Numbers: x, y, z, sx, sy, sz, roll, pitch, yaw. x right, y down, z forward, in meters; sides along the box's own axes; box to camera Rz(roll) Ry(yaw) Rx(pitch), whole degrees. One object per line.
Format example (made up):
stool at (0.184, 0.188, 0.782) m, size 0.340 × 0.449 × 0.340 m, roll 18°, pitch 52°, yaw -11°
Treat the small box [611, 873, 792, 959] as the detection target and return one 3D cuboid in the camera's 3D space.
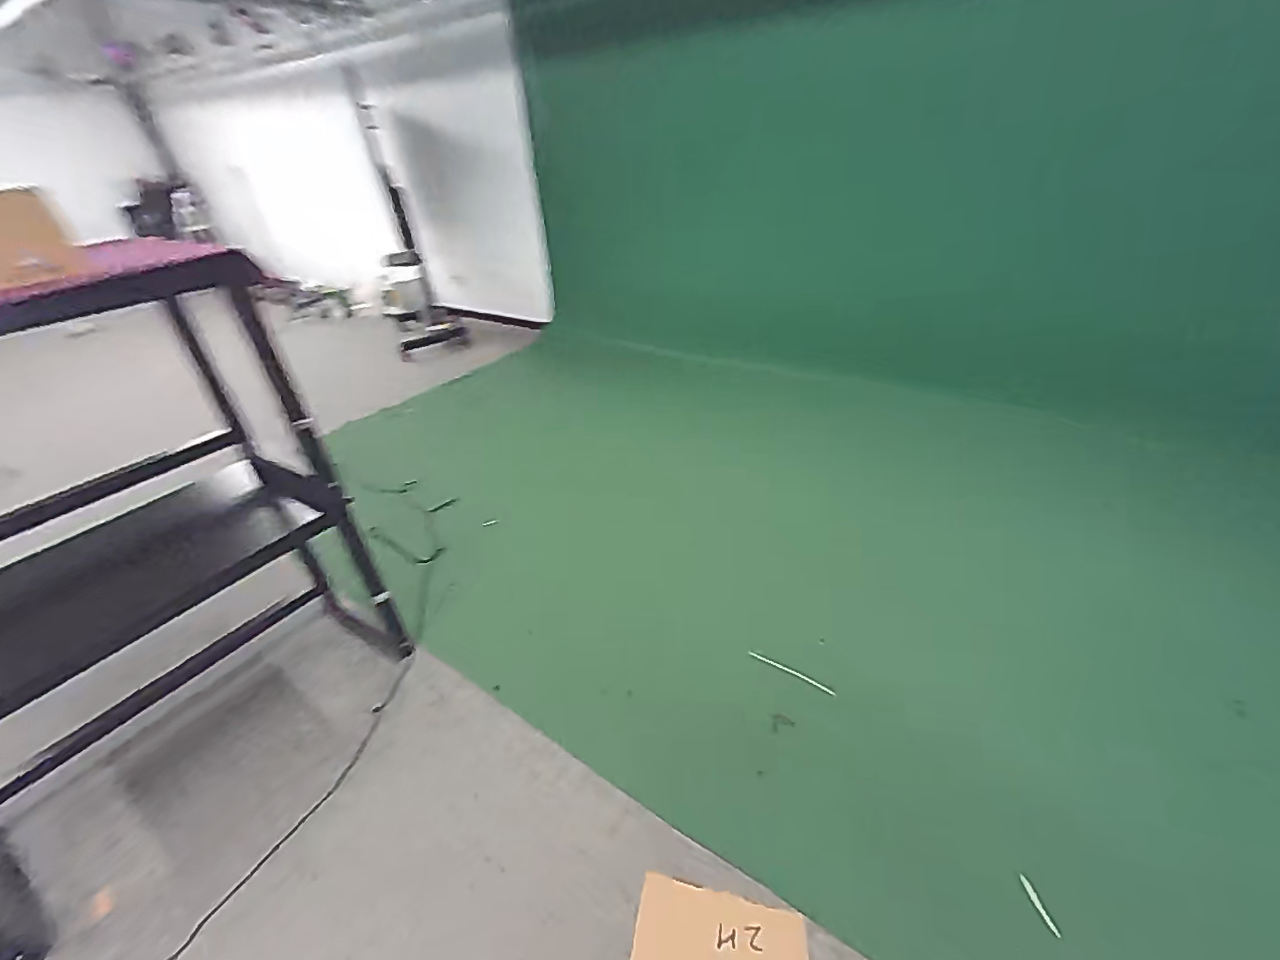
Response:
small box at (0.043, 0.520, 0.490) m, size 0.168 × 0.176 × 0.179 m, roll 11°, pitch 16°, yaw 8°
